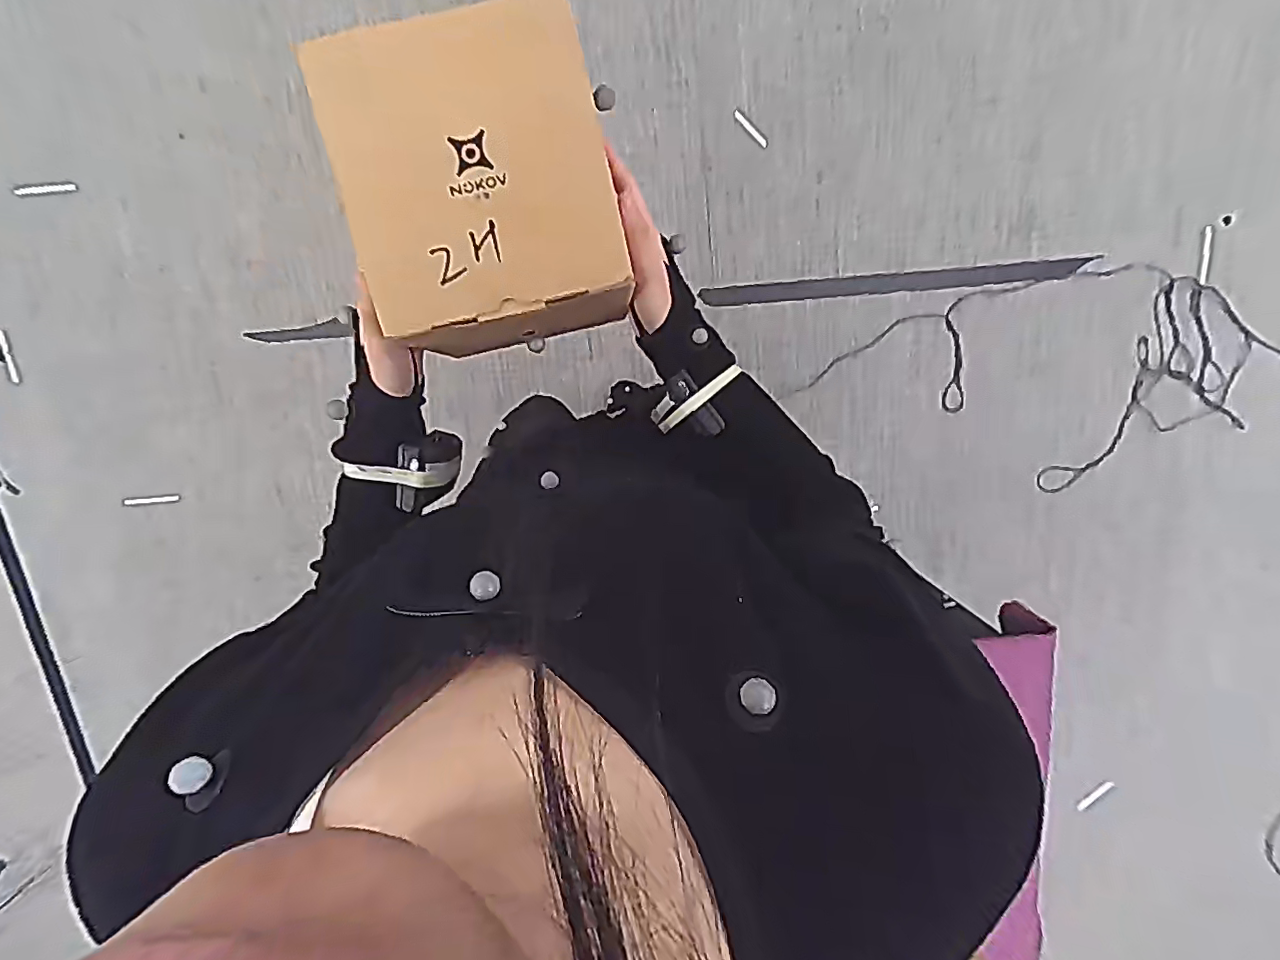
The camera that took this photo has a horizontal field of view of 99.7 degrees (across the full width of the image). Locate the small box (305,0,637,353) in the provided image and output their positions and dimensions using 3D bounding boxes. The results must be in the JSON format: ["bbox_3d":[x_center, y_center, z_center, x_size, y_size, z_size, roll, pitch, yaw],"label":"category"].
[{"bbox_3d":[-0.104,-0.205,0.409,0.168,0.176,0.179,-14,99,-1],"label":"small box"}]
